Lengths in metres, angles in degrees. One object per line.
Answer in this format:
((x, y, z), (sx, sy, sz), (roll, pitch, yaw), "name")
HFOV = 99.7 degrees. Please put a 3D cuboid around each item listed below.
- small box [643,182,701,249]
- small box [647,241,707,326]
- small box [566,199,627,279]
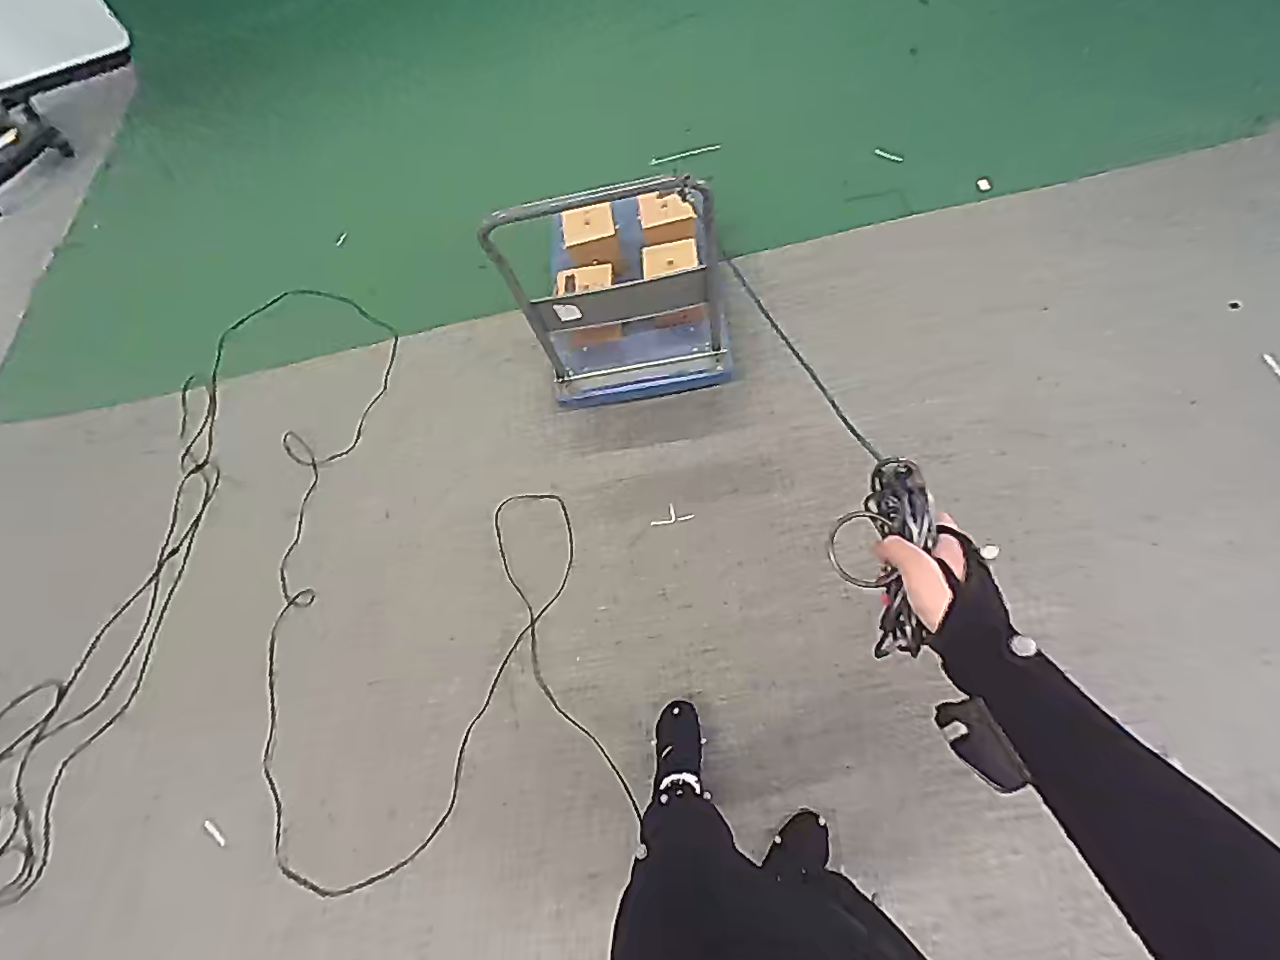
((0.108, -0.848, 1.801), (0.168, 0.176, 0.179), (-10, 66, 8), "small box")
((0.117, -0.612, 1.696), (0.168, 0.176, 0.179), (-7, 66, 8), "small box")
((-0.143, -0.806, 1.834), (0.168, 0.176, 0.179), (-11, 65, 5), "small box")
